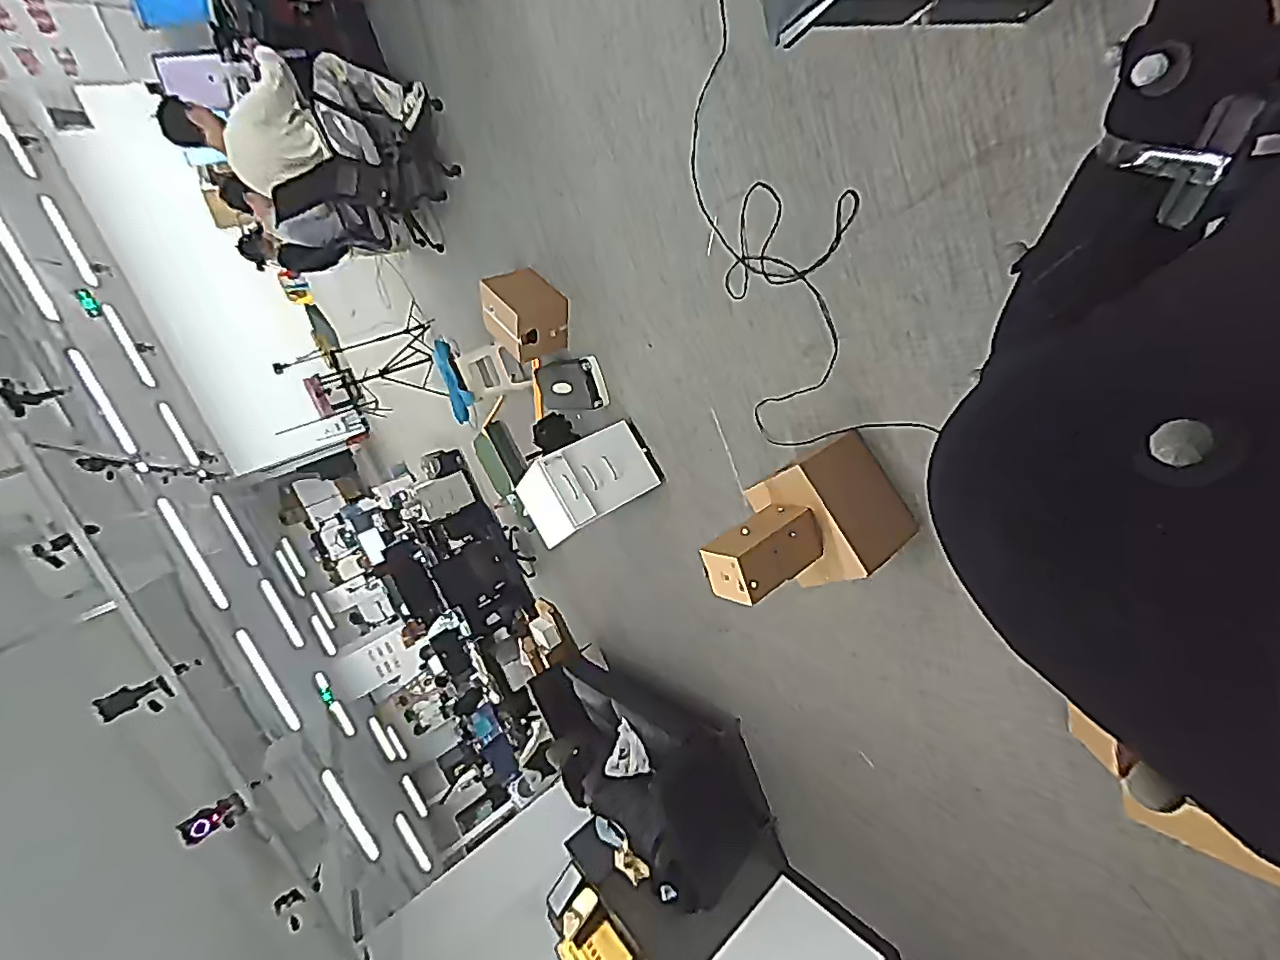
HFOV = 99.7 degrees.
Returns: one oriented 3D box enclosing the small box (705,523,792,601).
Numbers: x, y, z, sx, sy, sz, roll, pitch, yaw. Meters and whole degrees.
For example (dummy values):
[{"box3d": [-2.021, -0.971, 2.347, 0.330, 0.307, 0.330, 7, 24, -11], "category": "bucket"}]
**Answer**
[{"box3d": [0.338, 0.245, 1.677, 0.179, 0.176, 0.168, 4, 119, 59], "category": "small box"}]
